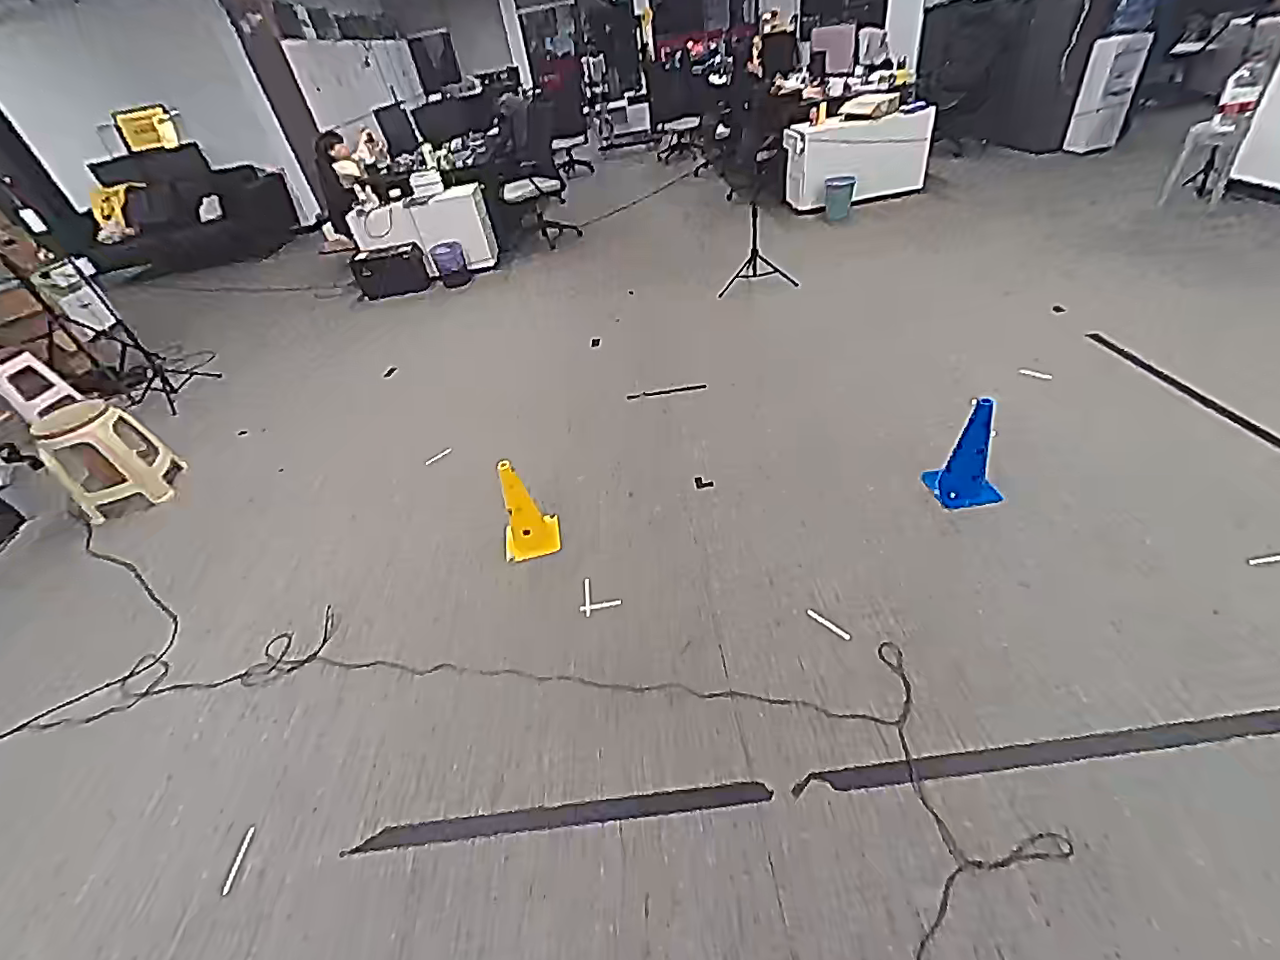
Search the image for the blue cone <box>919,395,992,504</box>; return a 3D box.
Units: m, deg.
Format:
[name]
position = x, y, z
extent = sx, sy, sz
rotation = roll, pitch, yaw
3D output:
[blue cone]
position = 1.090, -0.110, 1.811
extent = 0.193, 0.380, 0.192
rotation = -9, 38, 2
